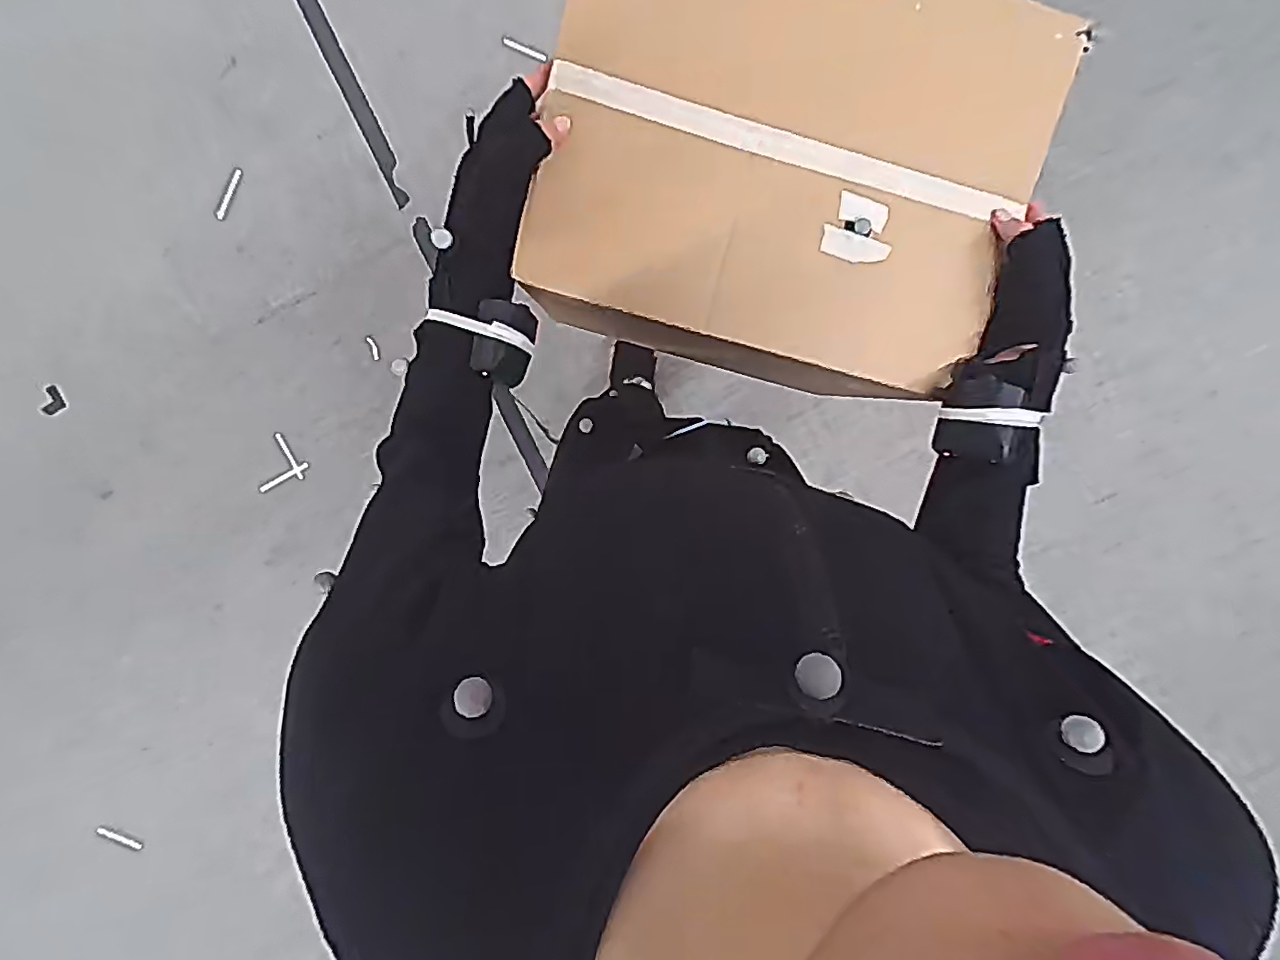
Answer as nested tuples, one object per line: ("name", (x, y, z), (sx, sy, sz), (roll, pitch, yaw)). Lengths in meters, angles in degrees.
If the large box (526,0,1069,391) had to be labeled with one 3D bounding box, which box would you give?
("large box", (0.119, -0.298, 0.598), (0.408, 0.320, 0.320), (15, 100, -6))
